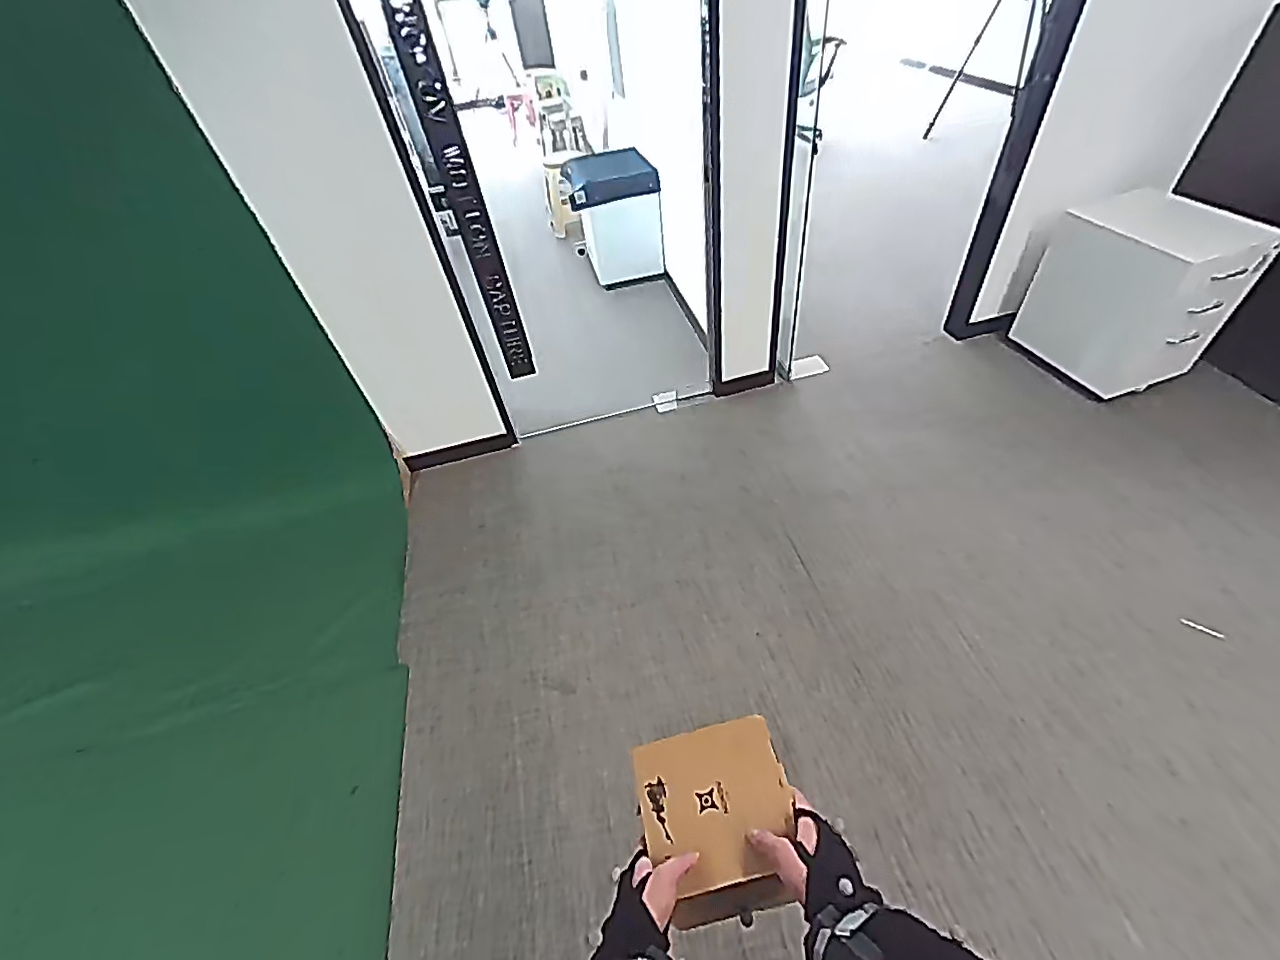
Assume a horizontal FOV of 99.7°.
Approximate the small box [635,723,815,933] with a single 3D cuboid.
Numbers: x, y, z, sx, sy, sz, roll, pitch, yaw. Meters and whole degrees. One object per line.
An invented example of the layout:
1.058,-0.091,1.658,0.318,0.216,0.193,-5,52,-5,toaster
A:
0.102,0.437,0.679,0.179,0.176,0.168,-14,41,0,small box
